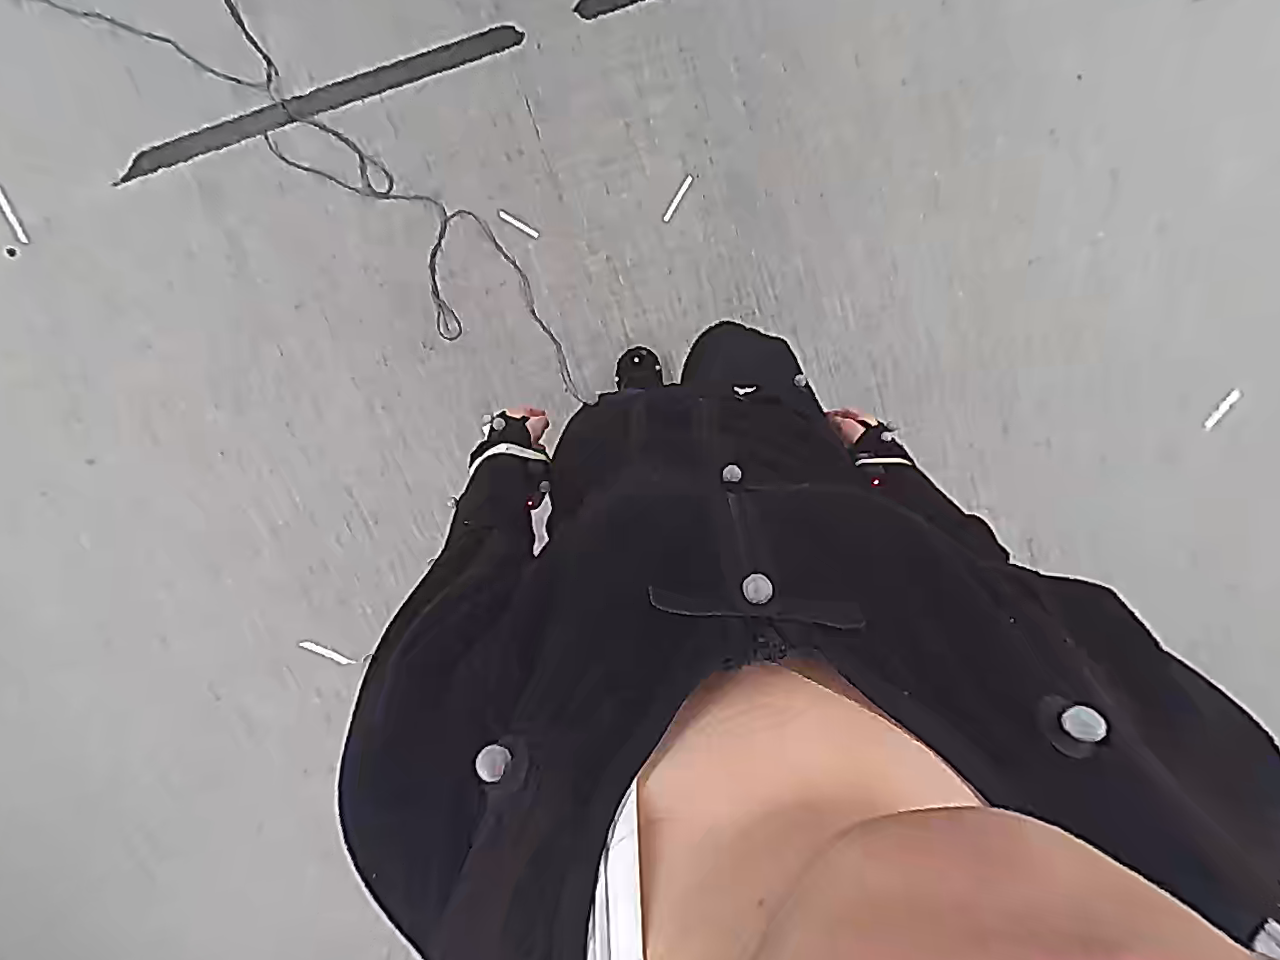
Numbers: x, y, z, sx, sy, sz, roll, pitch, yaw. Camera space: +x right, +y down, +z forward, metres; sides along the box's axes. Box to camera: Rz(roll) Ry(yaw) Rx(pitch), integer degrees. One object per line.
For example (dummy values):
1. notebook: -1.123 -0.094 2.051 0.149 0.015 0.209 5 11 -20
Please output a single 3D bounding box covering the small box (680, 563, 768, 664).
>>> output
1. small box: 0.219 0.350 1.443 0.168 0.176 0.179 -24 103 3
